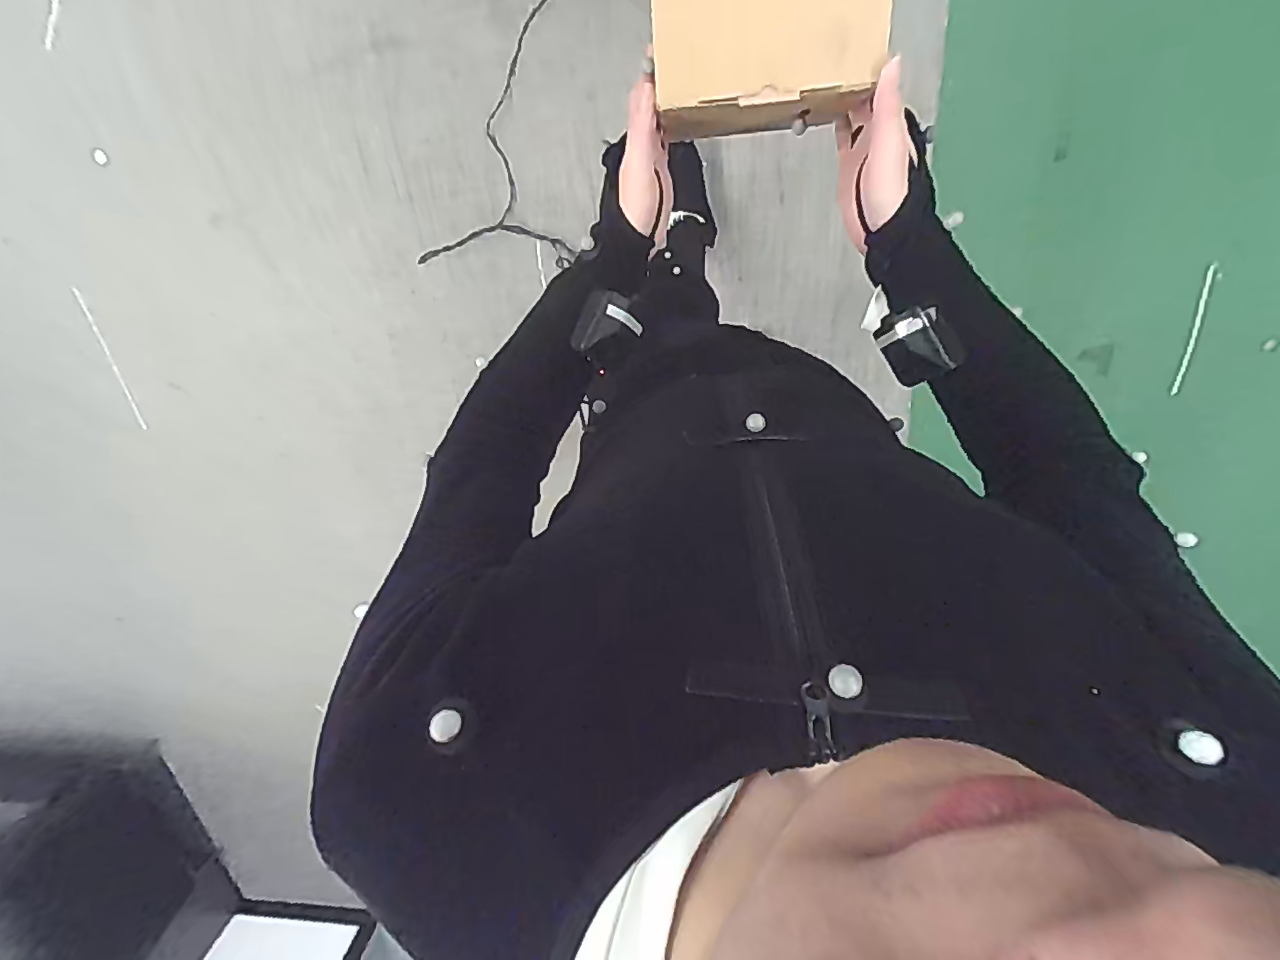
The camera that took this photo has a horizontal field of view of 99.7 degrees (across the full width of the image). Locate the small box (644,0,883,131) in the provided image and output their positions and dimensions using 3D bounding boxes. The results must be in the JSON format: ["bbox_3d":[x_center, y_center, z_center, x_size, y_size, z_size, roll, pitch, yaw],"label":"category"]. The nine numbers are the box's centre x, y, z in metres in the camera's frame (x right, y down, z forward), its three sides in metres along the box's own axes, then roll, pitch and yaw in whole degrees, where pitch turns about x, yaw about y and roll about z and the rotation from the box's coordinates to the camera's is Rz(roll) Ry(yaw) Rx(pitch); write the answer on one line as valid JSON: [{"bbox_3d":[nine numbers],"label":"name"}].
[{"bbox_3d":[0.090,-0.394,0.432,0.168,0.176,0.179,-2,114,6],"label":"small box"}]
